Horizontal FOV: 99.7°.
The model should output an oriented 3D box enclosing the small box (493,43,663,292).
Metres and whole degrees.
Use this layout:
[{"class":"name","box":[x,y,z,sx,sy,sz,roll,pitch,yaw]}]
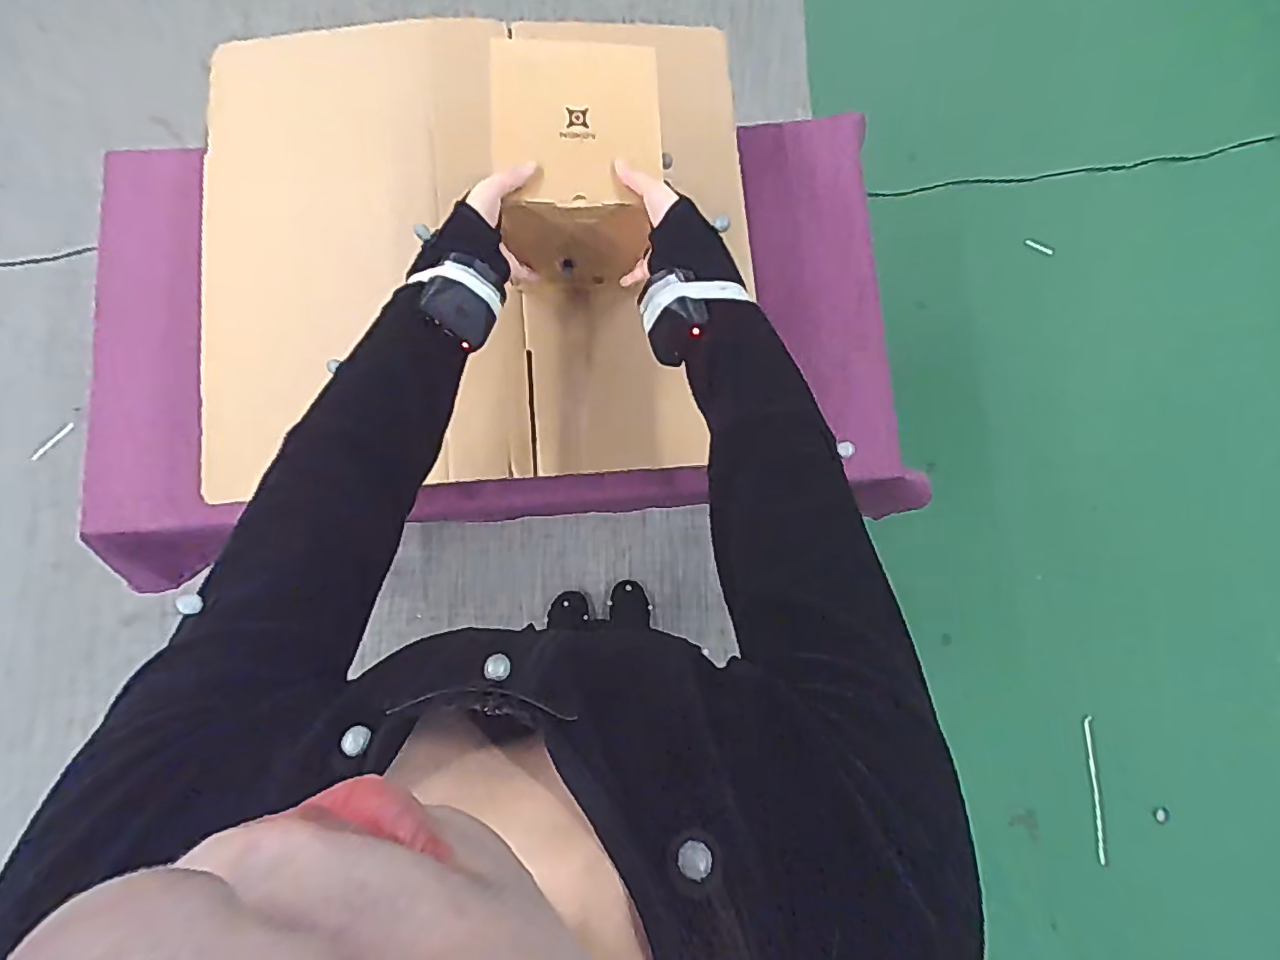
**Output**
[{"class":"small box","box":[-0.069,-0.336,0.610,0.168,0.176,0.179,-1,84,-6]}]
